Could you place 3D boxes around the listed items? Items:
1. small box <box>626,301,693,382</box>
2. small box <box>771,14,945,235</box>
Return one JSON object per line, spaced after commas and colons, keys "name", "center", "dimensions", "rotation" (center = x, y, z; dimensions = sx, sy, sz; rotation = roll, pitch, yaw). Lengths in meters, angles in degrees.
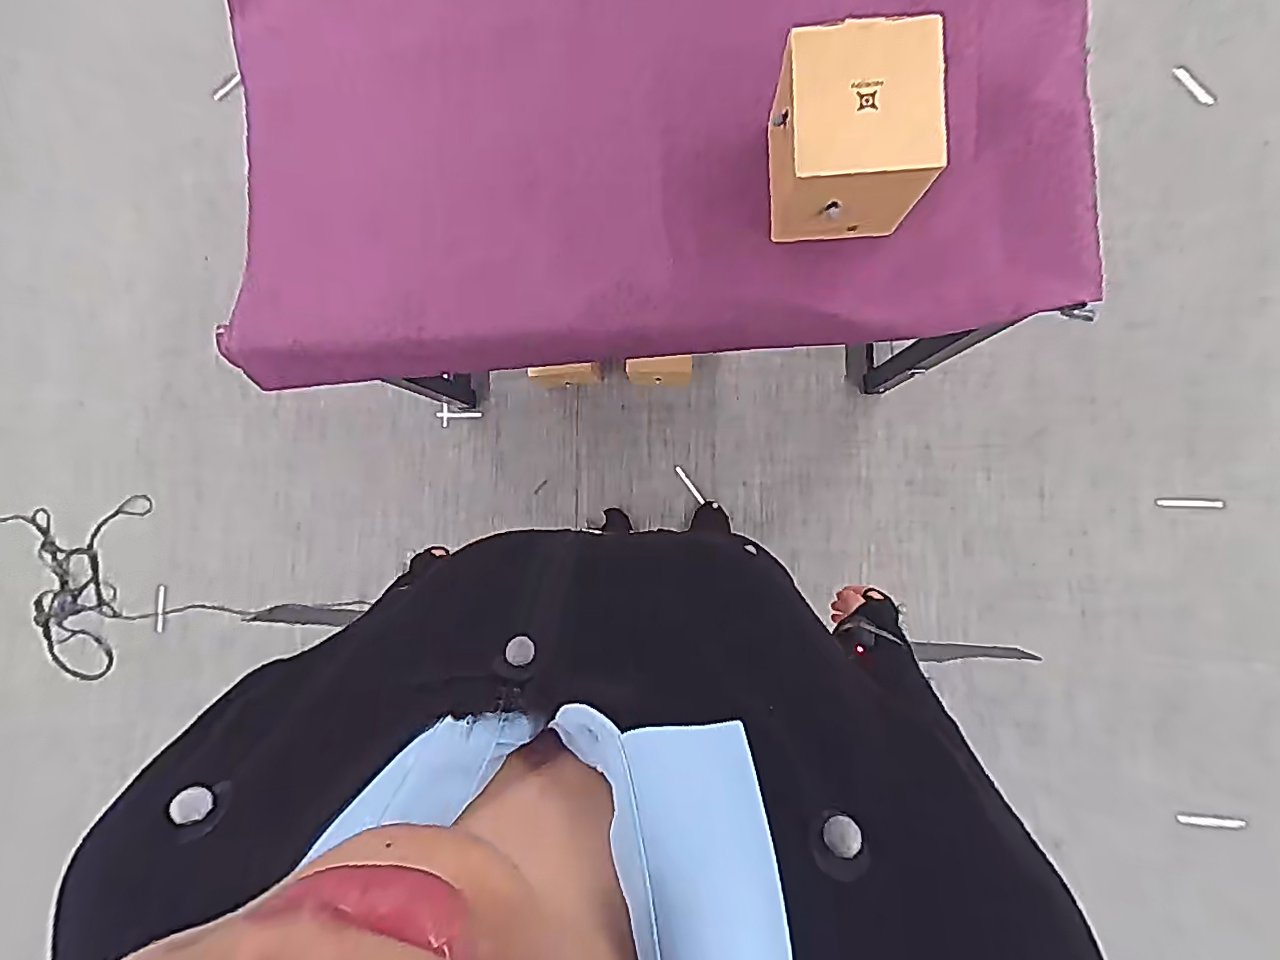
{"name": "small box", "center": [0.055, -0.359, 1.433], "dimensions": [0.168, 0.176, 0.179], "rotation": [2, 88, 4]}
{"name": "small box", "center": [0.263, -0.429, 0.686], "dimensions": [0.168, 0.176, 0.179], "rotation": [-1, 88, 5]}
